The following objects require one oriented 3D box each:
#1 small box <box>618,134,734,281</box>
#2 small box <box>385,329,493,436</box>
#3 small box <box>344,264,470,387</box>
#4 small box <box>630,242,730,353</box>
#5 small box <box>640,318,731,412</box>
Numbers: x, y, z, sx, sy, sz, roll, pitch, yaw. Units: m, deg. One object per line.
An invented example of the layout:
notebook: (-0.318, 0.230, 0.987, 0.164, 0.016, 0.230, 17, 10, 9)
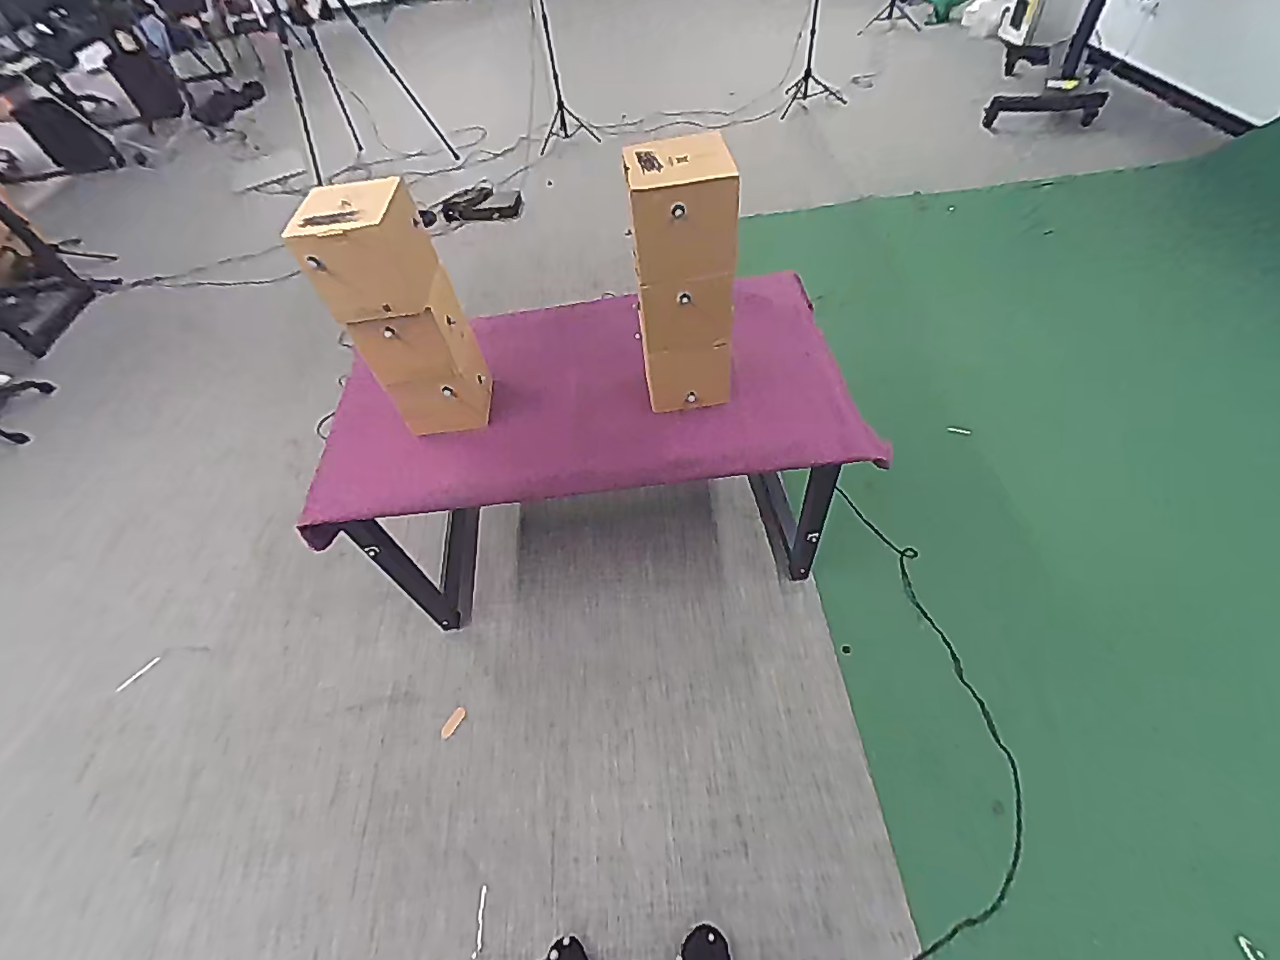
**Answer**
small box: (0.065, -0.475, 0.955, 0.179, 0.176, 0.168, -9, 54, 2)
small box: (-0.451, -0.221, 1.250, 0.179, 0.176, 0.168, -7, 52, 2)
small box: (-0.469, -0.316, 1.120, 0.179, 0.176, 0.168, -8, 53, 2)
small box: (0.082, -0.375, 1.085, 0.179, 0.176, 0.168, -8, 53, 2)
small box: (0.100, -0.275, 1.213, 0.179, 0.176, 0.168, -9, 52, 1)
